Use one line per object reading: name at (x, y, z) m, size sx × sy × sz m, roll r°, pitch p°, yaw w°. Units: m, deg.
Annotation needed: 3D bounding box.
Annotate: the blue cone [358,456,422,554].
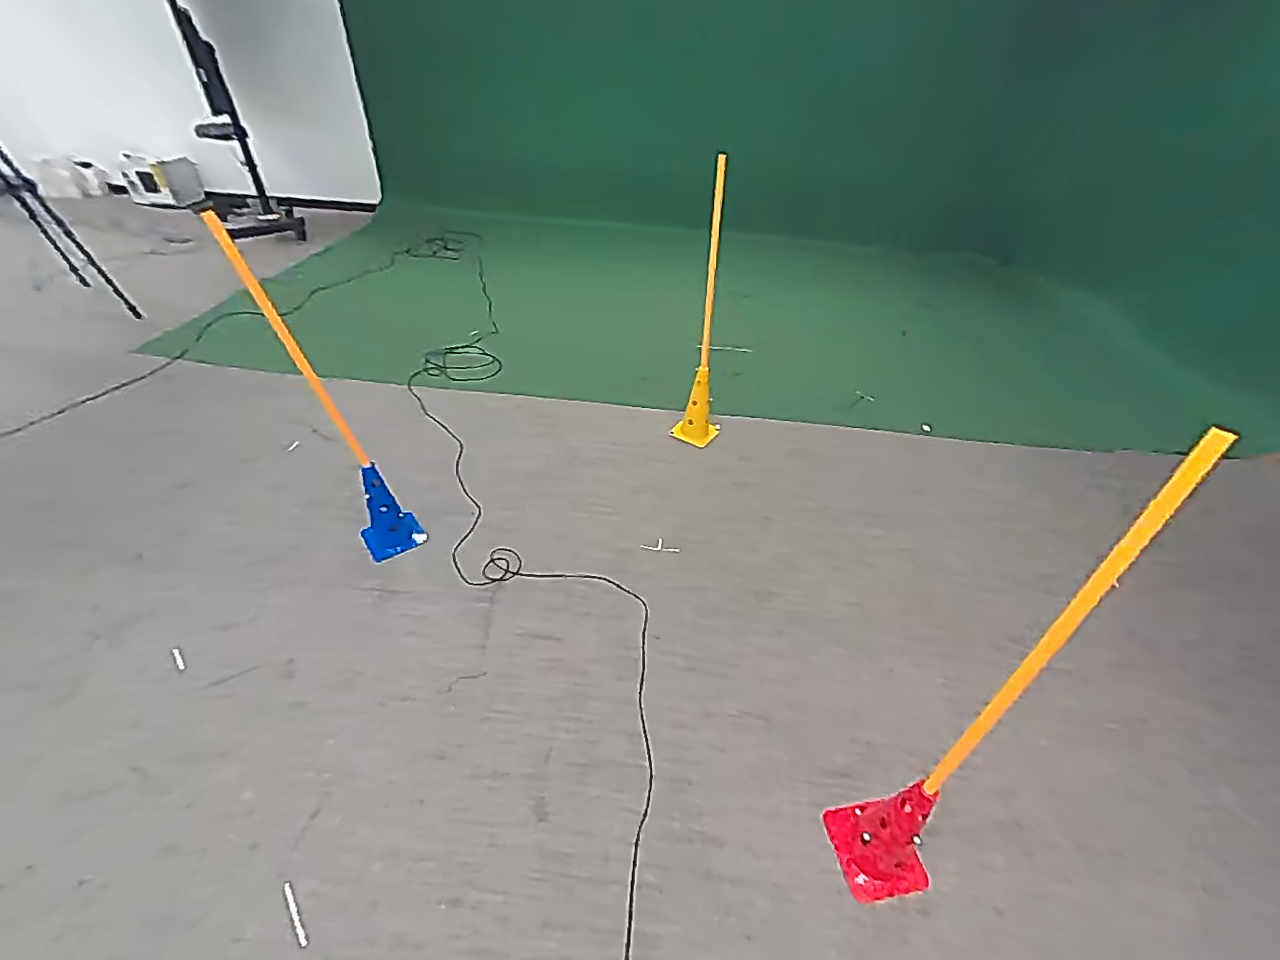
blue cone at (-0.934, 0.073, 1.939) m, size 0.193 × 0.380 × 0.192 m, roll -27°, pitch 50°, yaw -29°
